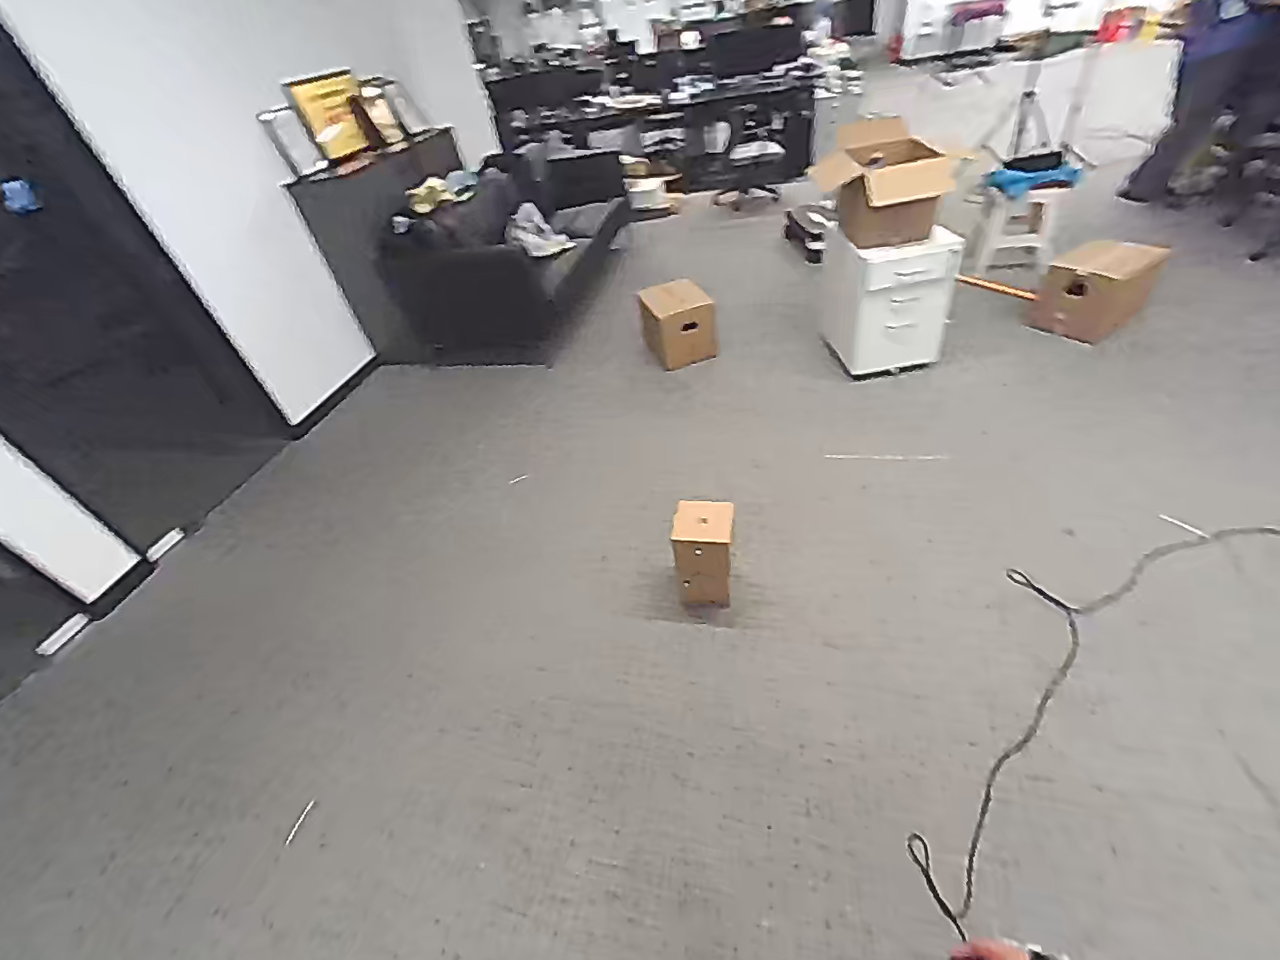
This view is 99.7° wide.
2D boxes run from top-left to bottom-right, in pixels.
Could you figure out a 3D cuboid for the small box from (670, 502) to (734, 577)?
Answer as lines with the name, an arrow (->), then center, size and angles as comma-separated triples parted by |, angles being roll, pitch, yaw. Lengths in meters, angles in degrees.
small box -> 0.199, 0.188, 1.692 | 0.179, 0.176, 0.168 | 2, 43, 14
